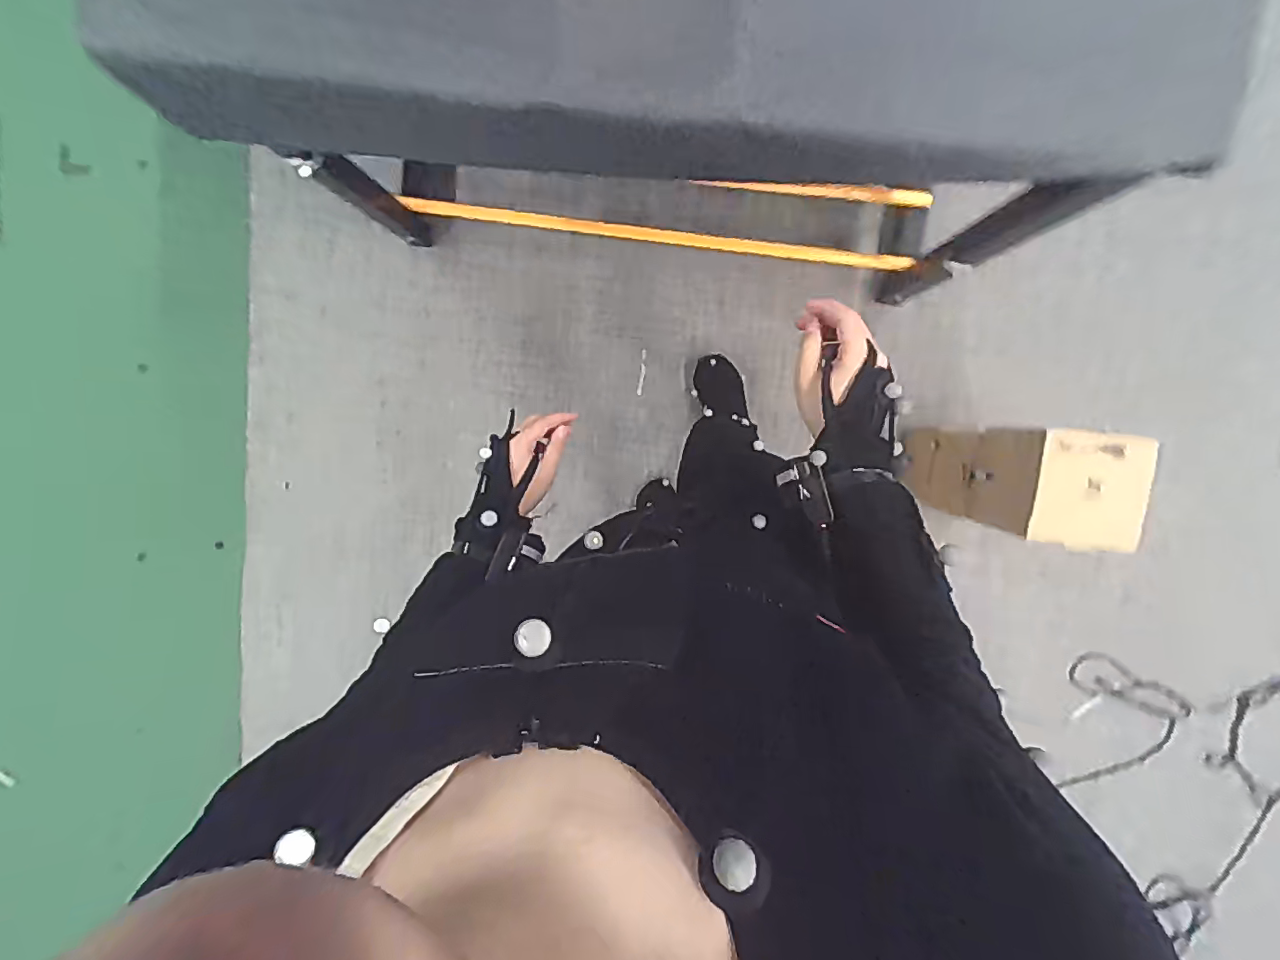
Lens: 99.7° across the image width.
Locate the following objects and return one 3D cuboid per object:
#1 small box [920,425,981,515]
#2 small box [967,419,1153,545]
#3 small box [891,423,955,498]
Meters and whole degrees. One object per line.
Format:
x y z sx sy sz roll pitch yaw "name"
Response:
0.684 -0.018 1.066 0.179 0.176 0.168 5 97 1 "small box"
0.682 -0.004 0.903 0.168 0.176 0.179 7 97 1 "small box"
0.704 -0.038 1.228 0.179 0.176 0.168 7 96 1 "small box"
